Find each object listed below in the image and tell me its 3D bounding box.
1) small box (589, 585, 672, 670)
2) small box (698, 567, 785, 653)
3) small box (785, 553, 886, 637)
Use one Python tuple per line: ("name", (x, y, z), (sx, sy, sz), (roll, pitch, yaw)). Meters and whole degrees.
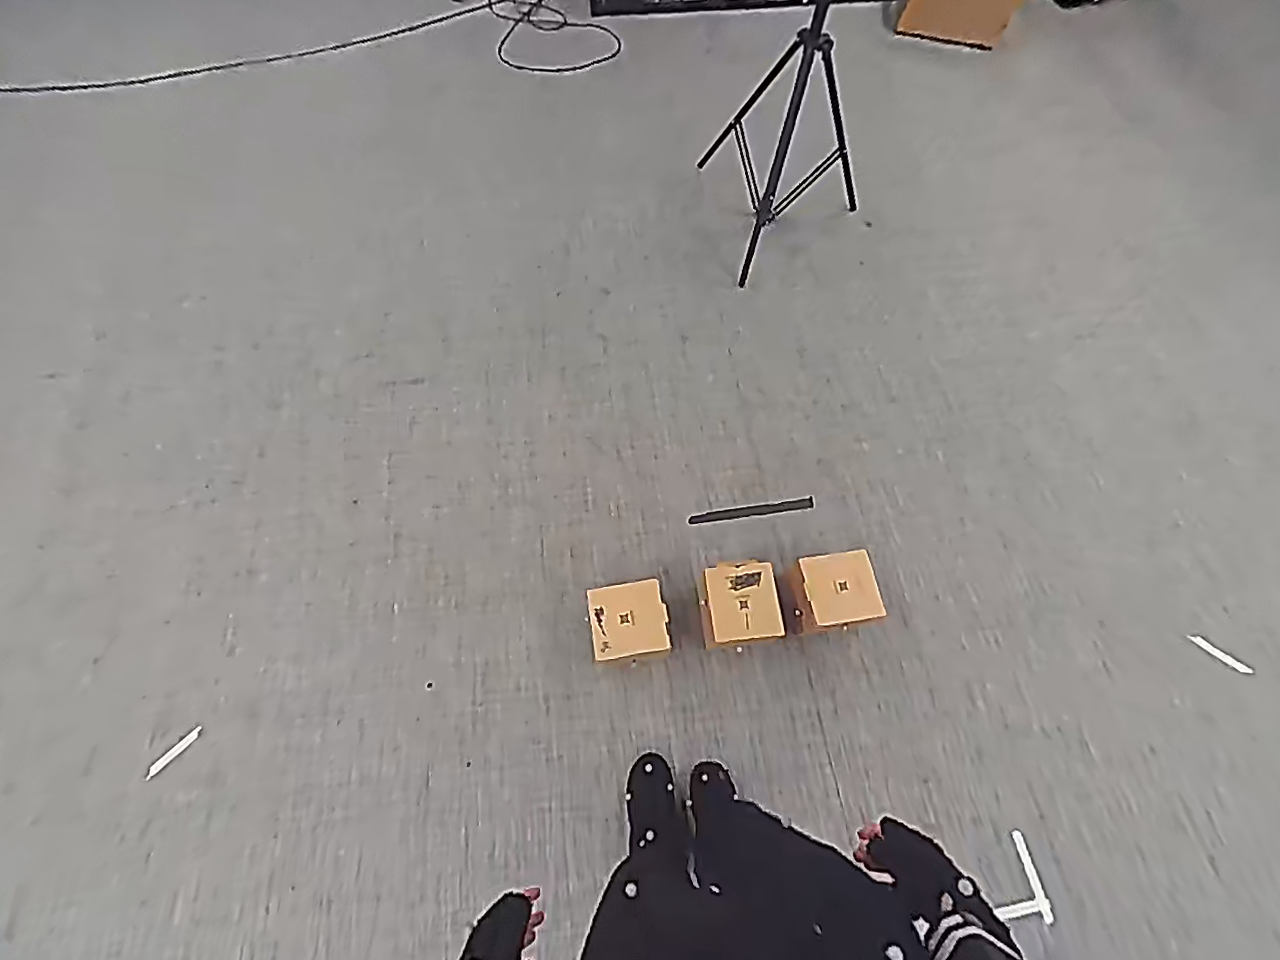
("small box", (-0.026, 0.364, 1.325), (0.179, 0.176, 0.168), (-8, 67, -5))
("small box", (0.244, 0.326, 1.344), (0.168, 0.176, 0.179), (-5, 68, -3))
("small box", (0.480, 0.295, 1.364), (0.179, 0.176, 0.168), (-8, 69, -5))
